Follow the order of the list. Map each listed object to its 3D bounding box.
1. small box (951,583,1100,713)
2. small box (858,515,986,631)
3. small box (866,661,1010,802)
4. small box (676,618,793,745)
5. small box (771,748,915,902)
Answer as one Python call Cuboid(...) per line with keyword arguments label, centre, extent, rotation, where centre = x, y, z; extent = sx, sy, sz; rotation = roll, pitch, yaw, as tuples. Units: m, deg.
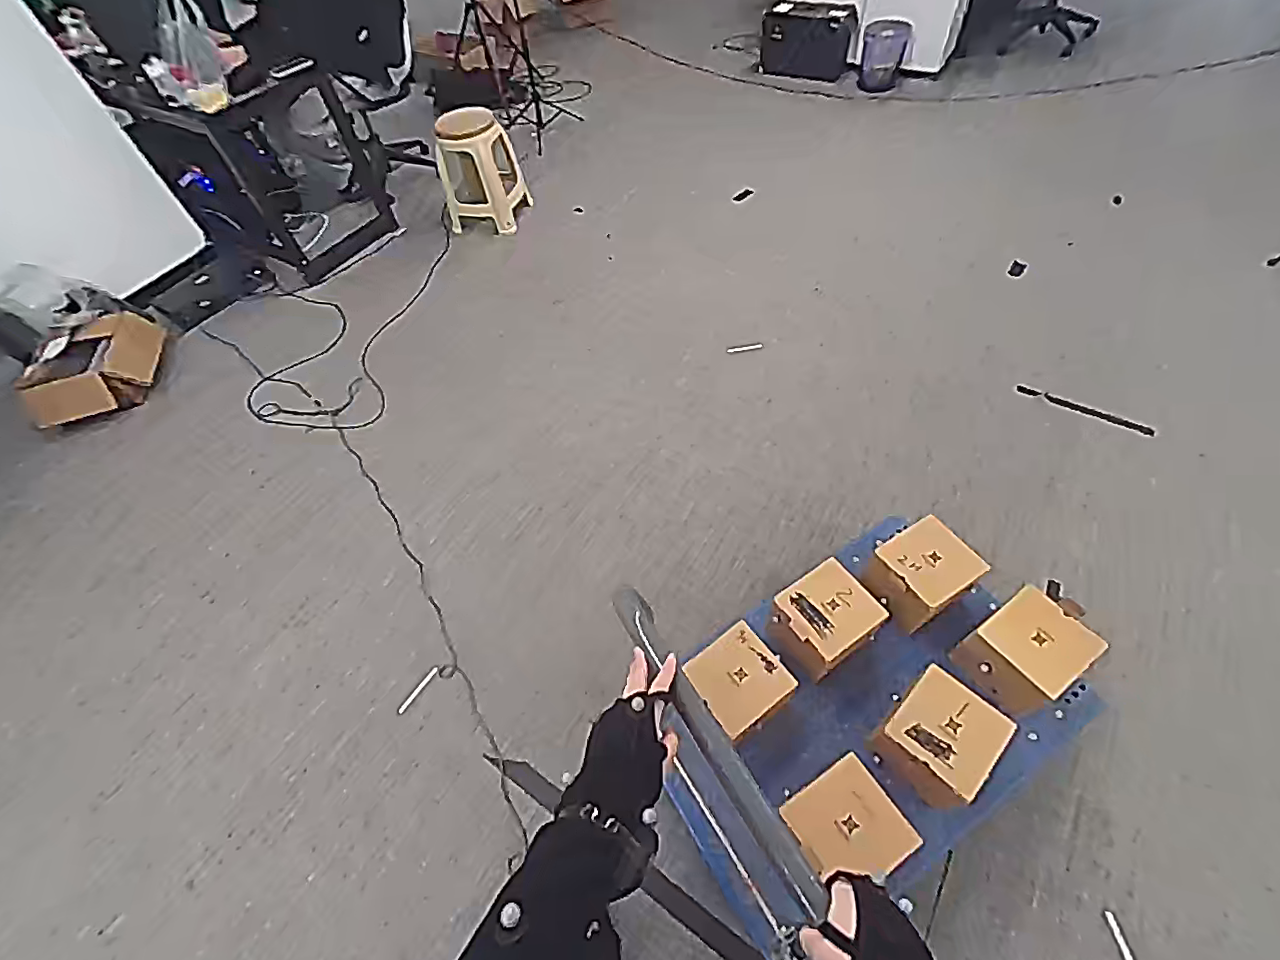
Cuboid(label="small box", centre=(0.789, 0.356, 1.133), extent=(0.179, 0.176, 0.168), rotation=(-32, 57, -15))
Cuboid(label="small box", centre=(0.636, 0.217, 1.245), extent=(0.179, 0.176, 0.168), rotation=(-28, 57, -12))
Cuboid(label="small box", centre=(0.567, 0.497, 1.059), extent=(0.179, 0.176, 0.168), rotation=(-40, 60, -21))
Cuboid(label="small box", centre=(0.196, 0.430, 1.144), extent=(0.179, 0.176, 0.168), rotation=(-32, 59, -16))
Cuboid(label="small box", centre=(0.357, 0.630, 0.991), extent=(0.179, 0.176, 0.168), rotation=(-29, 58, -14))
